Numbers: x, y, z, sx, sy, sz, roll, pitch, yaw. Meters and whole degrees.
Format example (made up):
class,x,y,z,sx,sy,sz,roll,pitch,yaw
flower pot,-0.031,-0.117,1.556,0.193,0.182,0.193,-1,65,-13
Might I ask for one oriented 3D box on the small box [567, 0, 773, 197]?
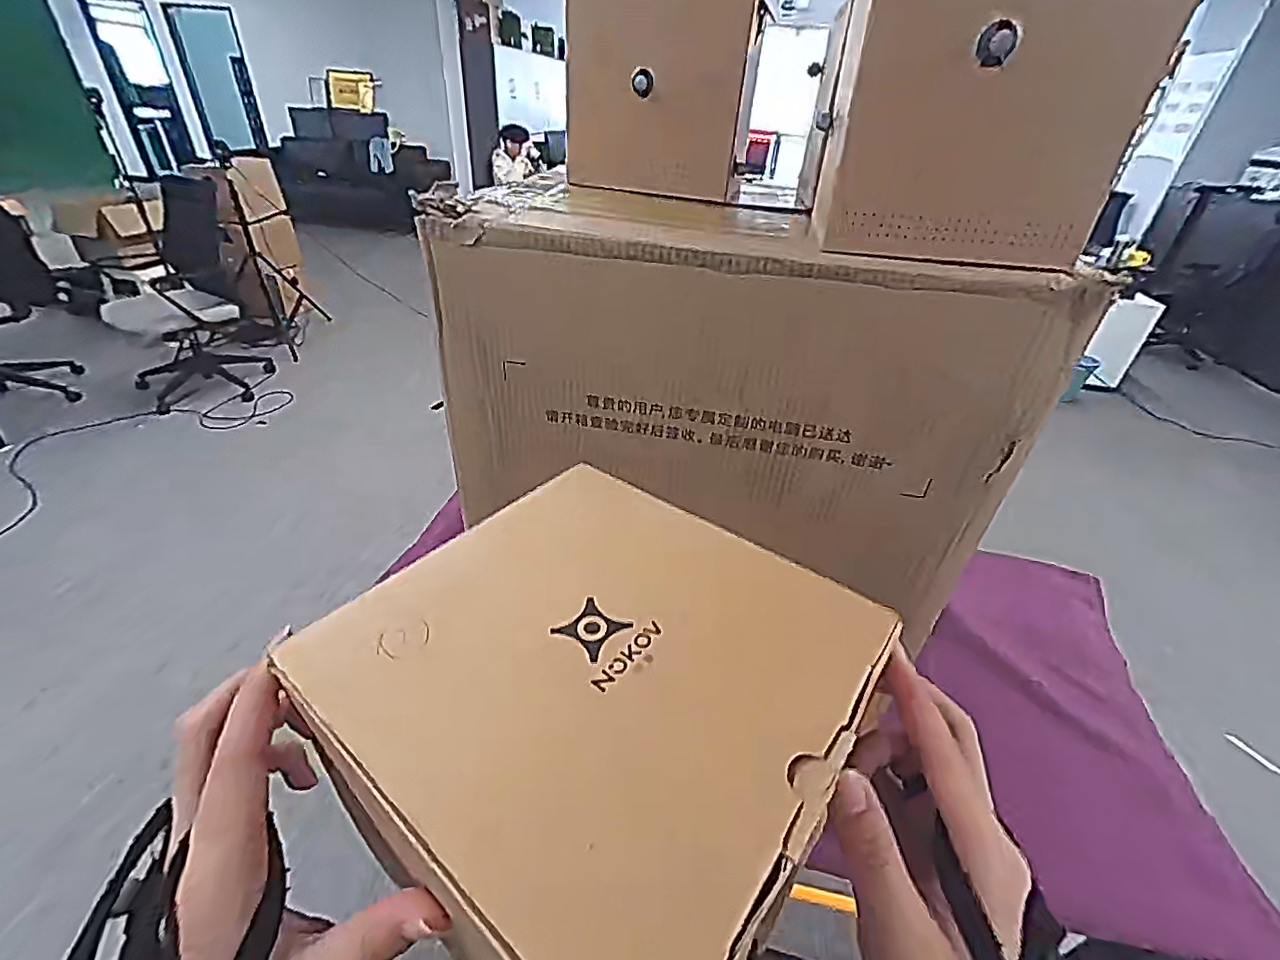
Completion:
class,x,y,z,sx,sy,sz,roll,pitch,yaw
small box,0.034,-0.406,0.579,0.179,0.176,0.168,11,34,12

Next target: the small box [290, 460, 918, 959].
class,x,y,z,sx,sy,sz,roll,pitch,yaw
small box,-0.011,0.120,0.244,0.179,0.176,0.168,25,41,29
